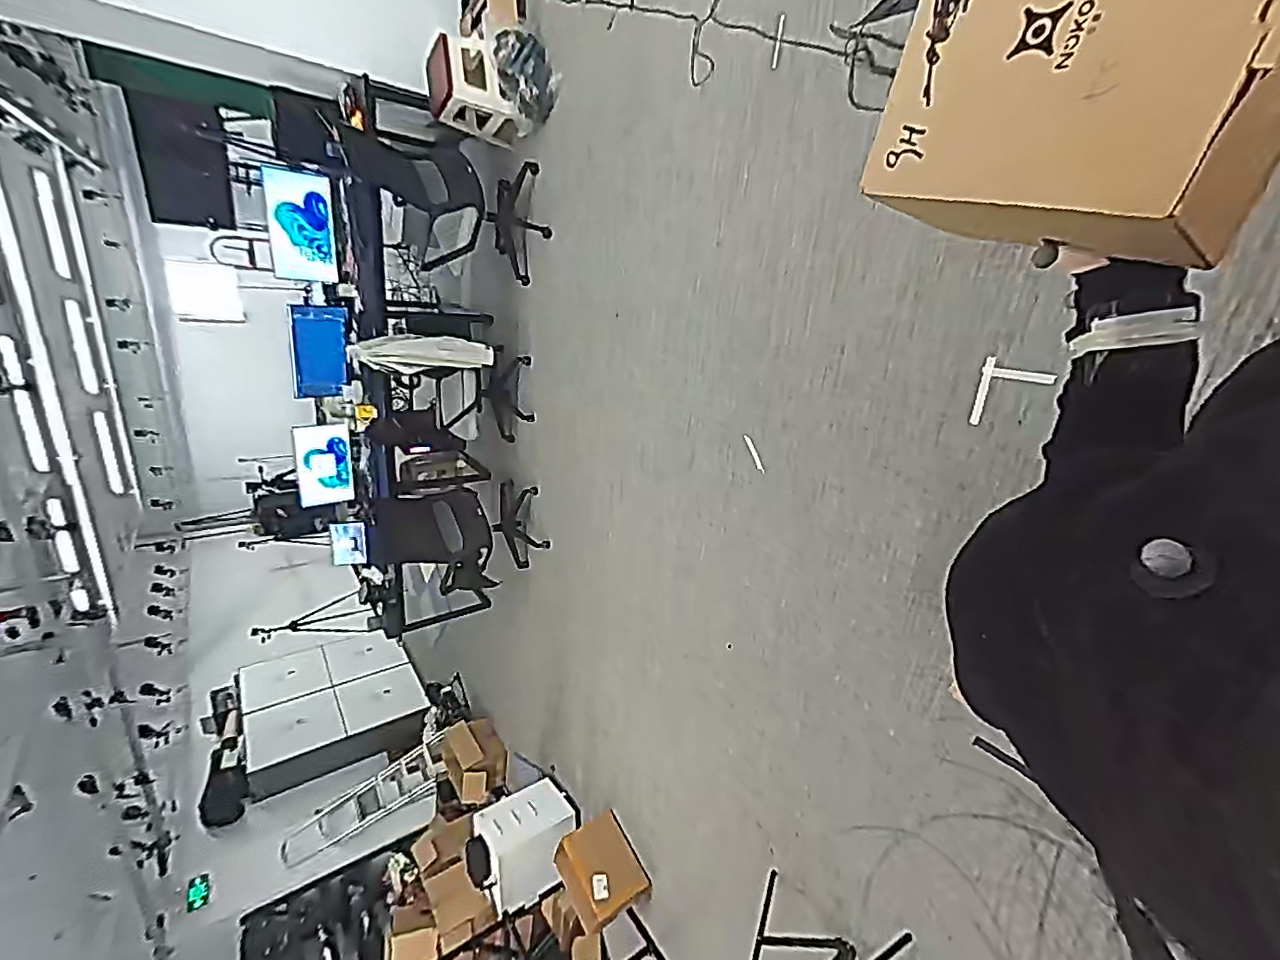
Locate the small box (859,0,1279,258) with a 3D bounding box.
[{"bbox_3d":[0.279,-0.242,0.330,0.179,0.176,0.168,36,123,42],"label":"small box"}]
